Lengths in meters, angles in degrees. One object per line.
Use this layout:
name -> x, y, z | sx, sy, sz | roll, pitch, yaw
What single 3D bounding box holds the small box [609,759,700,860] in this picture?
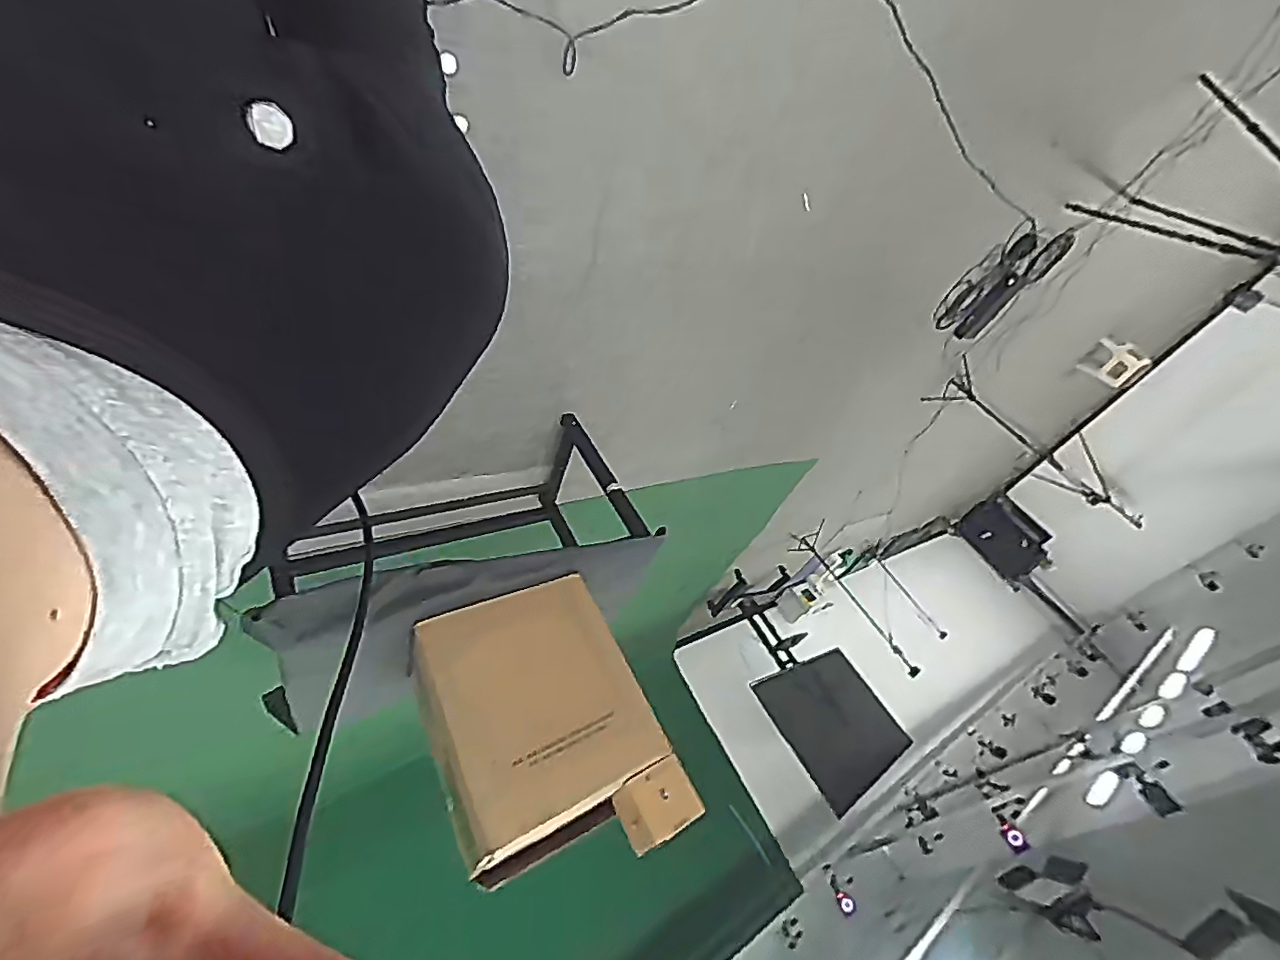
small box -> 0.032, 0.912, 1.510 | 0.168, 0.176, 0.179 | -14, 145, -32
